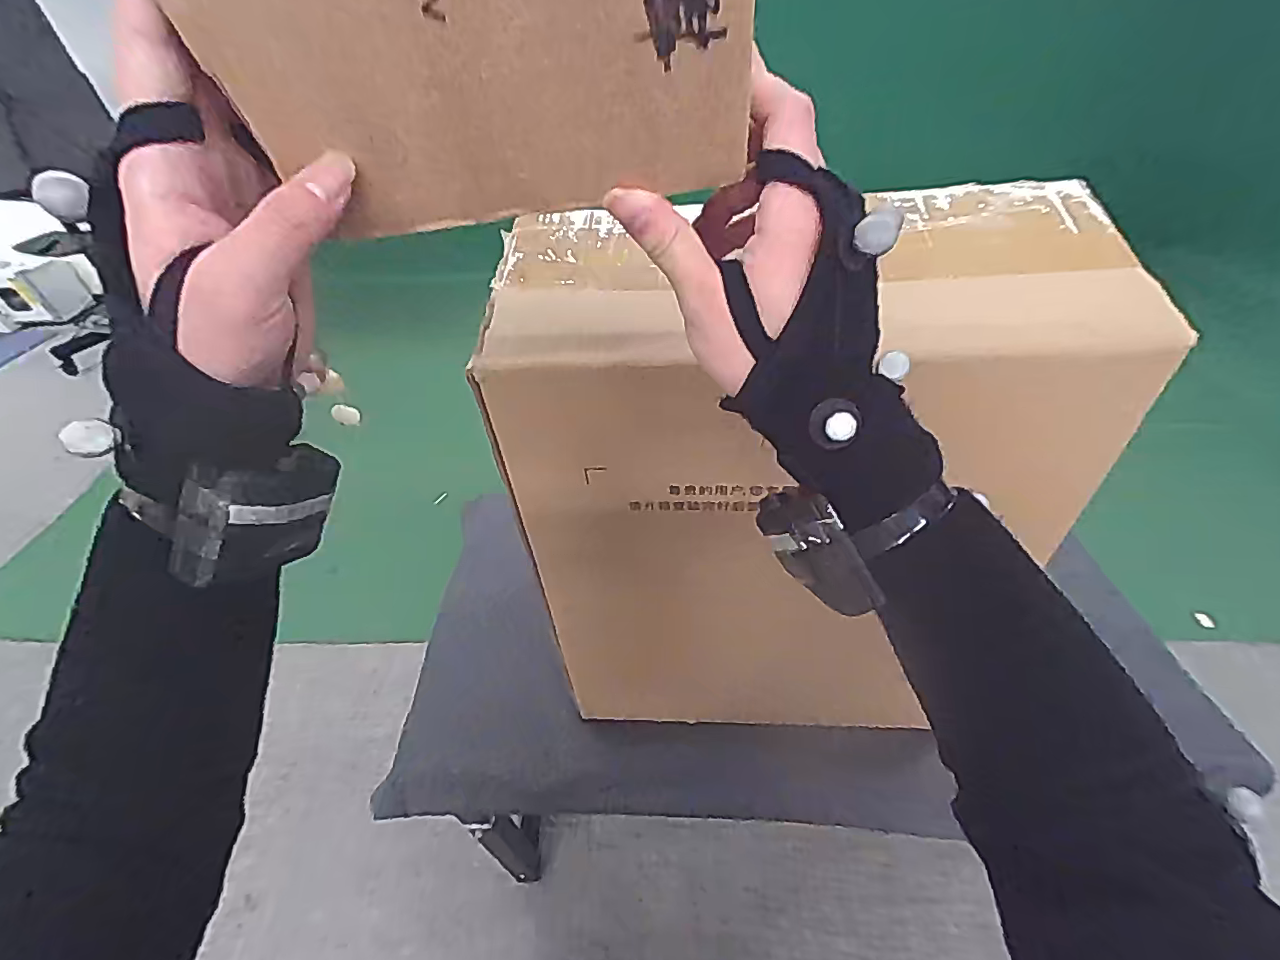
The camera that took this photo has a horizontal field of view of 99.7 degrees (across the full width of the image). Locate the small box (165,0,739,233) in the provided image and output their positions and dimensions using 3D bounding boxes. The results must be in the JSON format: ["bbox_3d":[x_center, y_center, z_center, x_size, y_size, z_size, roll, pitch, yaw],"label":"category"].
[{"bbox_3d":[-0.060,-0.219,0.196,0.179,0.168,0.176,-5,56,4],"label":"small box"}]
